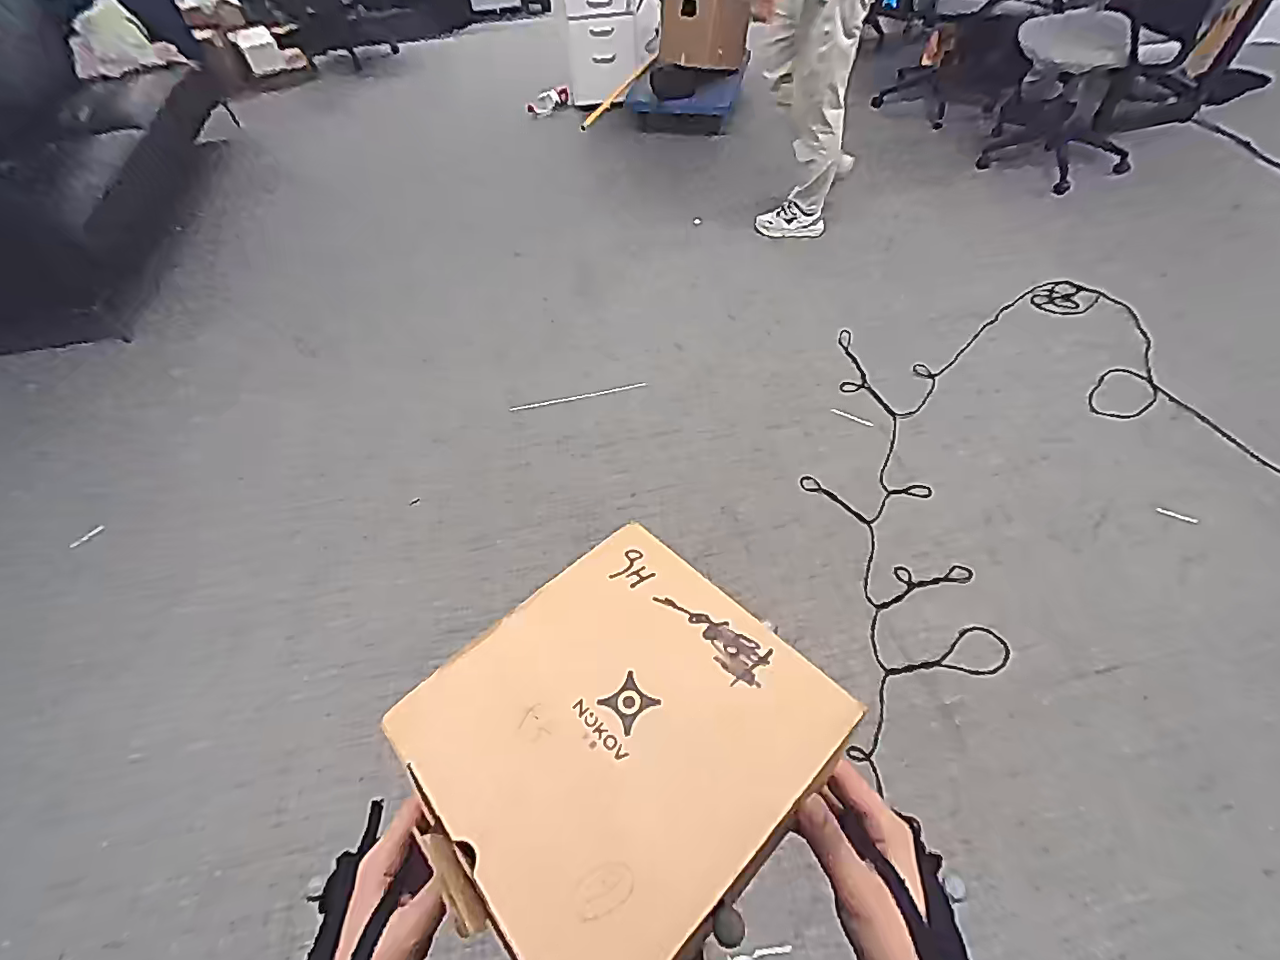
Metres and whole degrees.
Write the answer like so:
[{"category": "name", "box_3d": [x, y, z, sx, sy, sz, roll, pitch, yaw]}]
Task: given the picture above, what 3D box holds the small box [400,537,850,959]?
[{"category": "small box", "box_3d": [-0.003, 0.177, 0.331, 0.179, 0.176, 0.168, -37, 53, -25]}]
